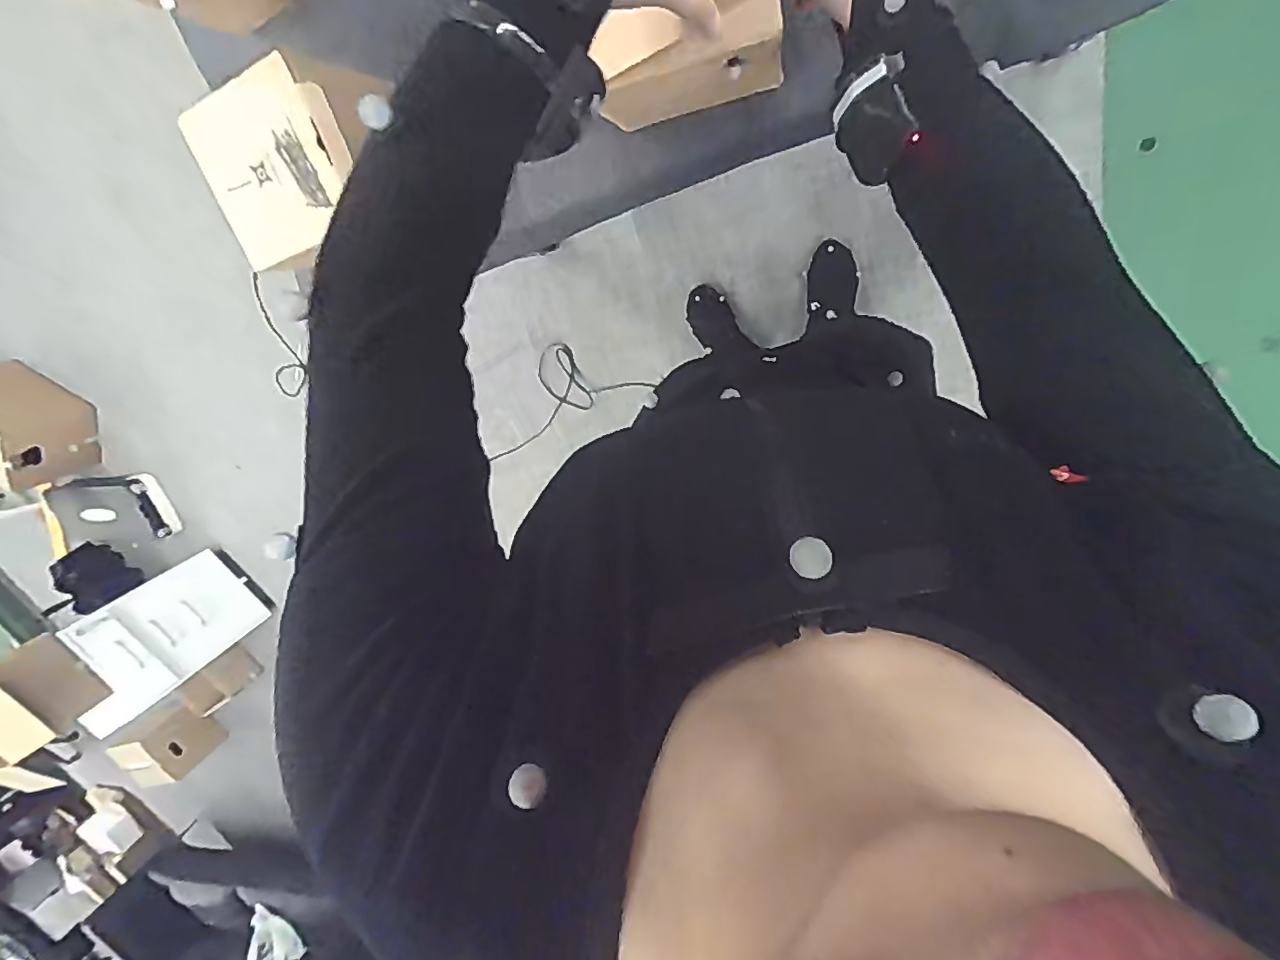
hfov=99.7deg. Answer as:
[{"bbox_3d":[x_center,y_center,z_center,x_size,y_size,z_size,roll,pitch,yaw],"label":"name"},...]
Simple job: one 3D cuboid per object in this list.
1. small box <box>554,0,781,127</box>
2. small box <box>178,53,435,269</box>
[{"bbox_3d":[0.028,-0.438,0.479,0.179,0.176,0.168,-7,113,16],"label":"small box"},{"bbox_3d":[-0.376,-0.368,0.649,0.179,0.176,0.168,-8,113,22],"label":"small box"}]
